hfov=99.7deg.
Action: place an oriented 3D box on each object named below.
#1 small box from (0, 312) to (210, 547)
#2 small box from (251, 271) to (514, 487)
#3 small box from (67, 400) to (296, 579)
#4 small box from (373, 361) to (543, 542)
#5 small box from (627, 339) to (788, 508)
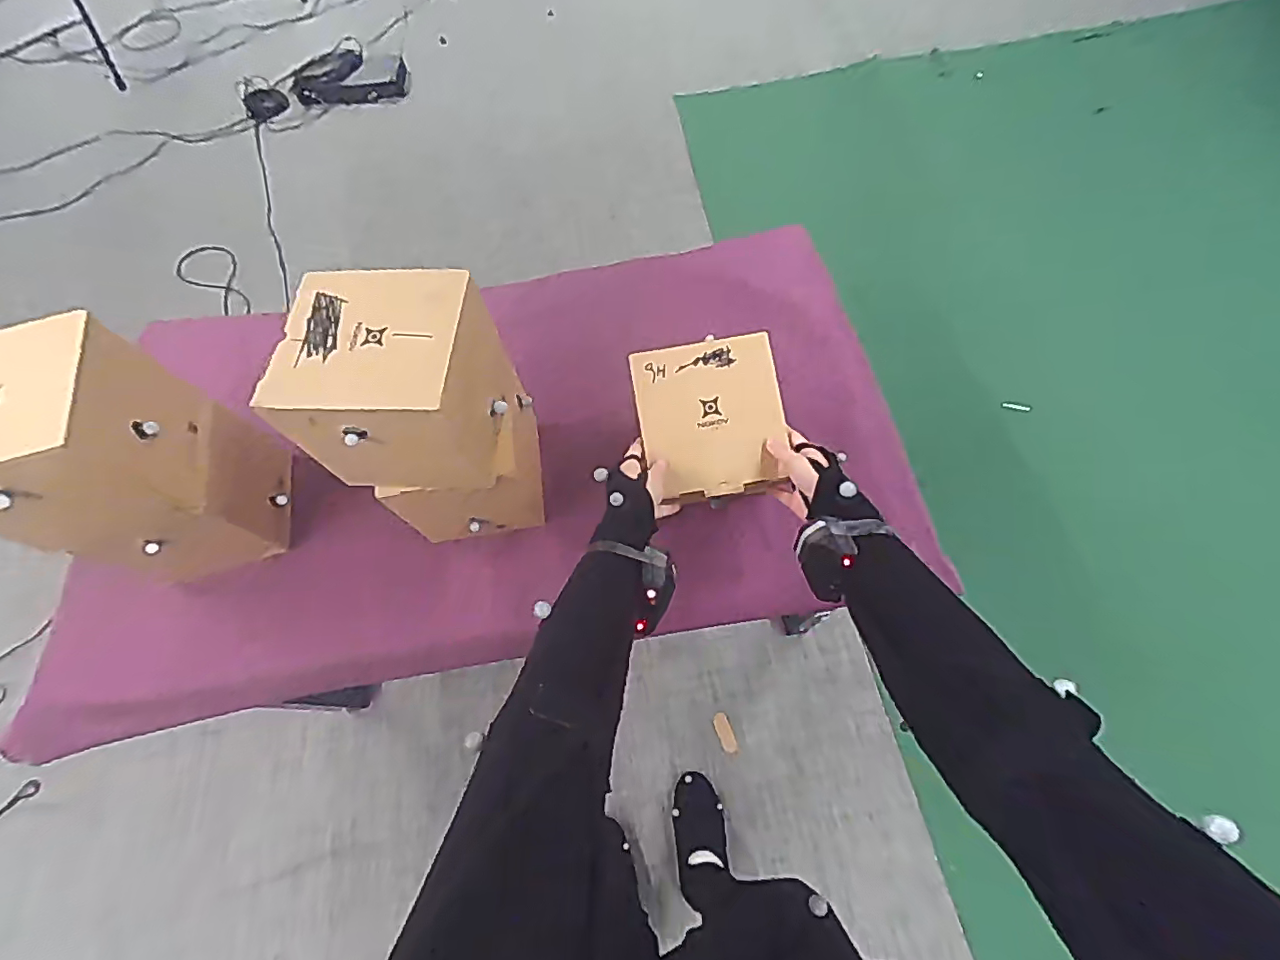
[{"bbox_3d":[-0.609,-0.044,0.581,0.179,0.176,0.168,-16,66,-3],"label":"small box"},{"bbox_3d":[-0.252,-0.099,0.580,0.179,0.176,0.168,1,65,4],"label":"small box"},{"bbox_3d":[-0.606,0.021,0.729,0.179,0.176,0.168,-14,65,-3],"label":"small box"},{"bbox_3d":[-0.232,-0.033,0.729,0.168,0.176,0.179,-9,65,0],"label":"small box"},{"bbox_3d":[0.079,-0.059,0.693,0.168,0.176,0.179,-8,84,1],"label":"small box"}]
